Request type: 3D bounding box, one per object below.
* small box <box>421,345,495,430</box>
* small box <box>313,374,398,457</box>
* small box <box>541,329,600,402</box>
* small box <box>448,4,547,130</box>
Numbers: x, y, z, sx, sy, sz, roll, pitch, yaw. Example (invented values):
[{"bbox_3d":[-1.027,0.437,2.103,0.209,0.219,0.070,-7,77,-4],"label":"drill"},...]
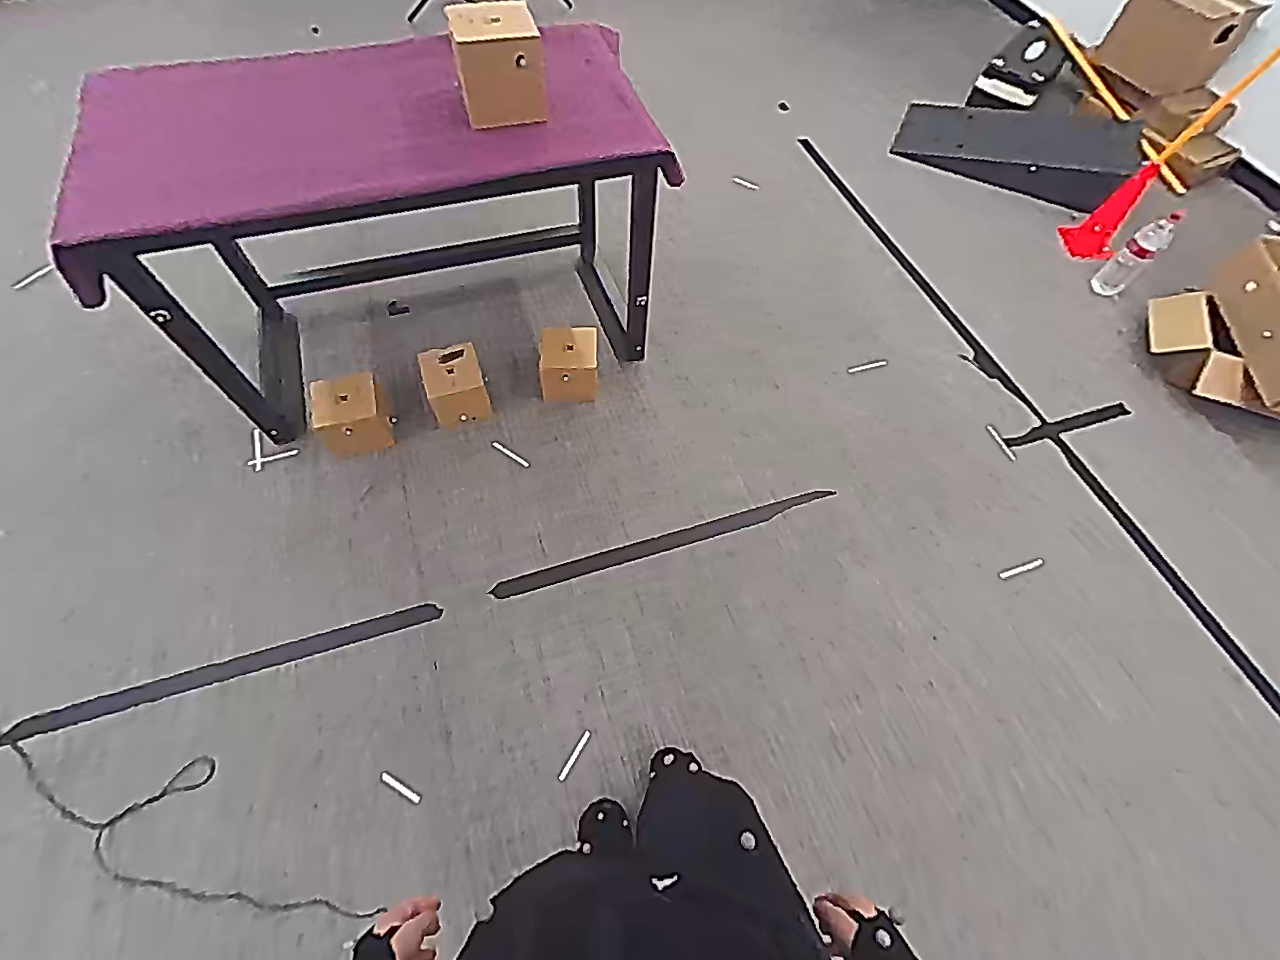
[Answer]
[{"bbox_3d":[-0.559,-0.283,1.674,0.168,0.176,0.179,-17,65,-12],"label":"small box"},{"bbox_3d":[-0.842,-0.186,1.607,0.179,0.176,0.168,-13,64,-11],"label":"small box"},{"bbox_3d":[-0.218,-0.364,1.738,0.179,0.176,0.168,-1,62,-2],"label":"small box"},{"bbox_3d":[-0.308,-0.911,1.199,0.179,0.176,0.168,-14,62,-10],"label":"small box"}]
